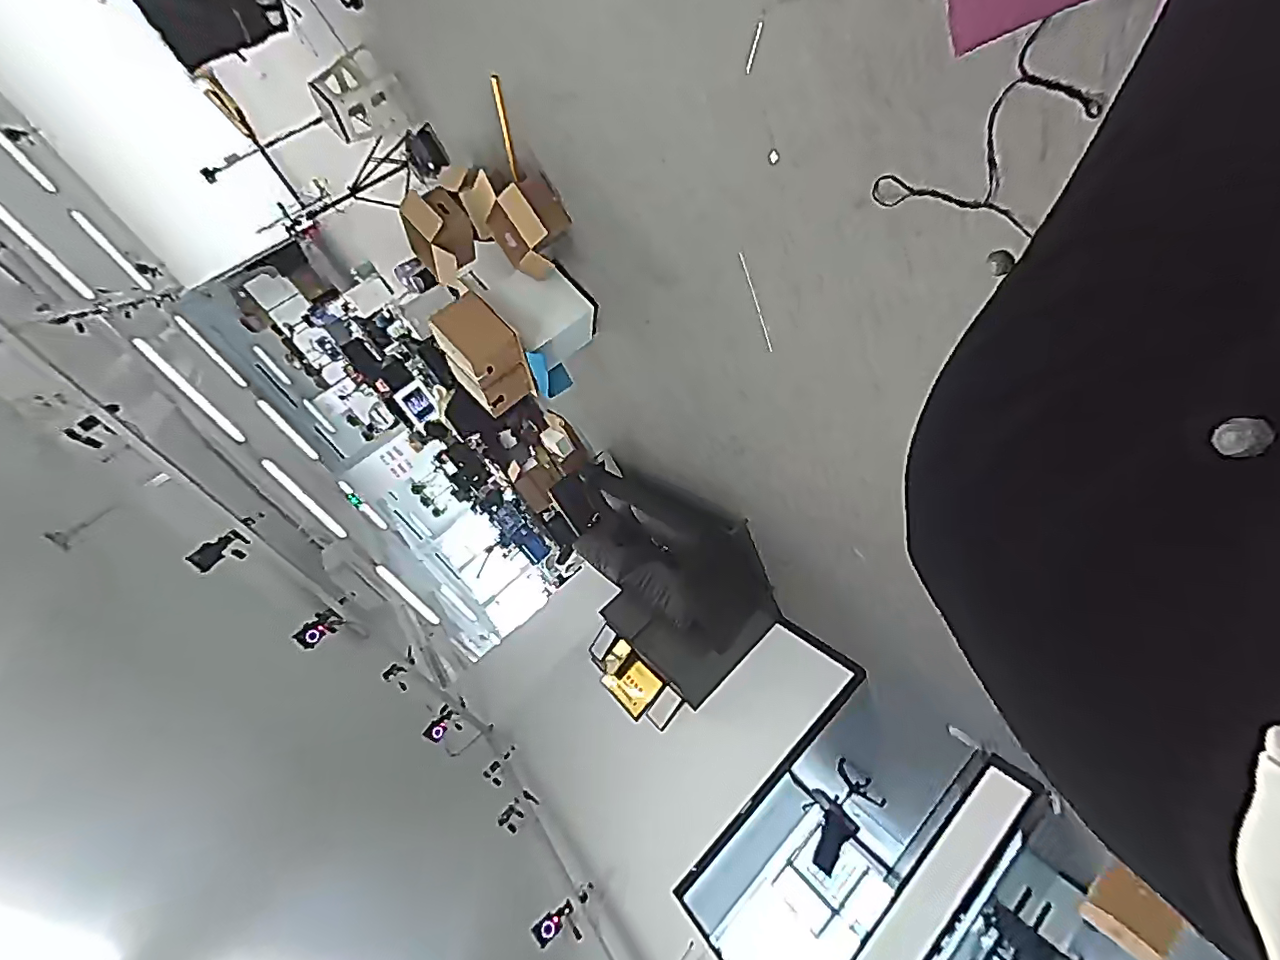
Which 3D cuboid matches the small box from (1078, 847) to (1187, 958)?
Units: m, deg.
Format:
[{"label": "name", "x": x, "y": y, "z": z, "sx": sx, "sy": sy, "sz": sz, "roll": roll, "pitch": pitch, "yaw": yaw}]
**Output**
[{"label": "small box", "x": 1.379, "y": 1.182, "z": 1.518, "sx": 0.168, "sy": 0.176, "sz": 0.179, "roll": 31, "pitch": 154, "yaw": 46}]
